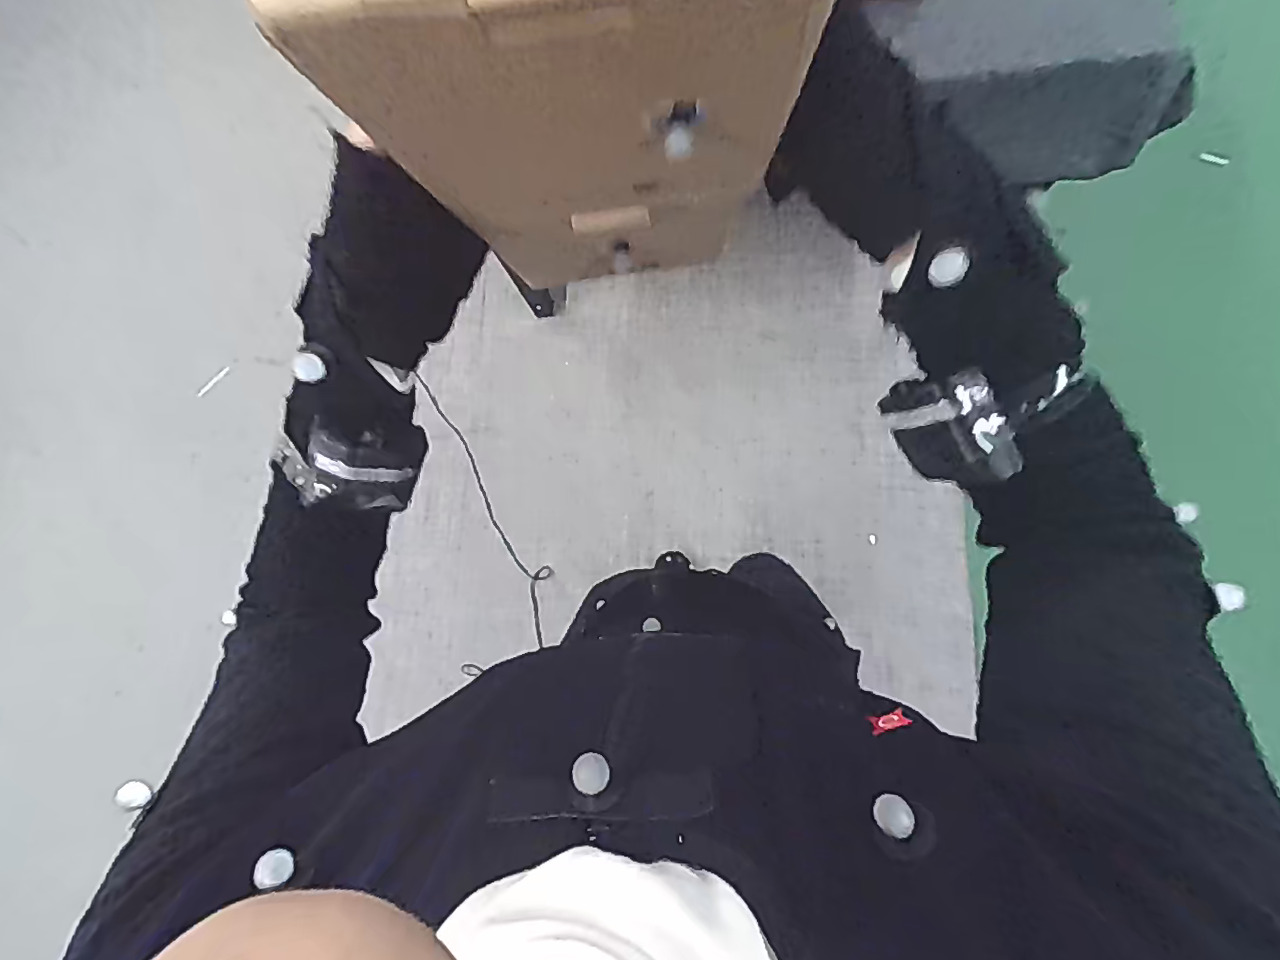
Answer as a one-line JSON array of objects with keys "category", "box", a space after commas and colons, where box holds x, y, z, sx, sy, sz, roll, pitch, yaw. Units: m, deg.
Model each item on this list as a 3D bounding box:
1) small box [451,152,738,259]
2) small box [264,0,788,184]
[{"category": "small box", "box": [-0.032, -0.262, 0.368, 0.168, 0.176, 0.179, -8, 98, 2]}, {"category": "small box", "box": [-0.033, -0.236, 0.206, 0.168, 0.176, 0.179, -6, 96, 1]}]
